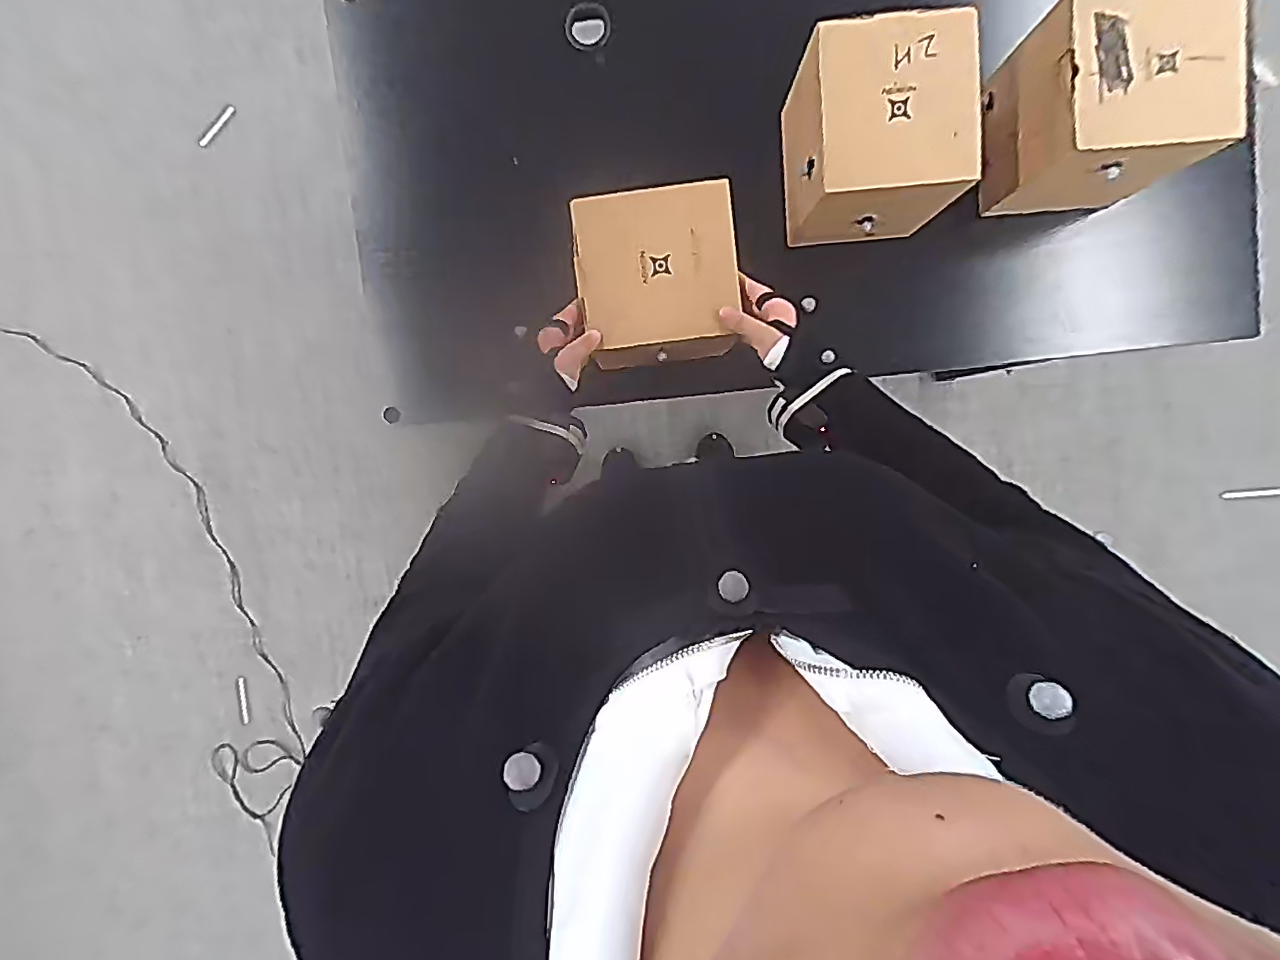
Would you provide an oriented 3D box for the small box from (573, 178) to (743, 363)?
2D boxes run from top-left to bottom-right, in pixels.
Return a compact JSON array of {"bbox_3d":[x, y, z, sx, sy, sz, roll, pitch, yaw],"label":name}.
[{"bbox_3d":[0.023,-0.247,0.680,0.179,0.176,0.168,-8,95,1],"label":"small box"}]

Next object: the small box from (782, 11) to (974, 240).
[{"bbox_3d":[0.275,-0.408,0.657,0.168,0.176,0.179,-4,94,2],"label":"small box"}]

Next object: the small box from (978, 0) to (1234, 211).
[{"bbox_3d":[0.534,-0.440,0.646,0.179,0.176,0.168,-3,94,2],"label":"small box"}]
